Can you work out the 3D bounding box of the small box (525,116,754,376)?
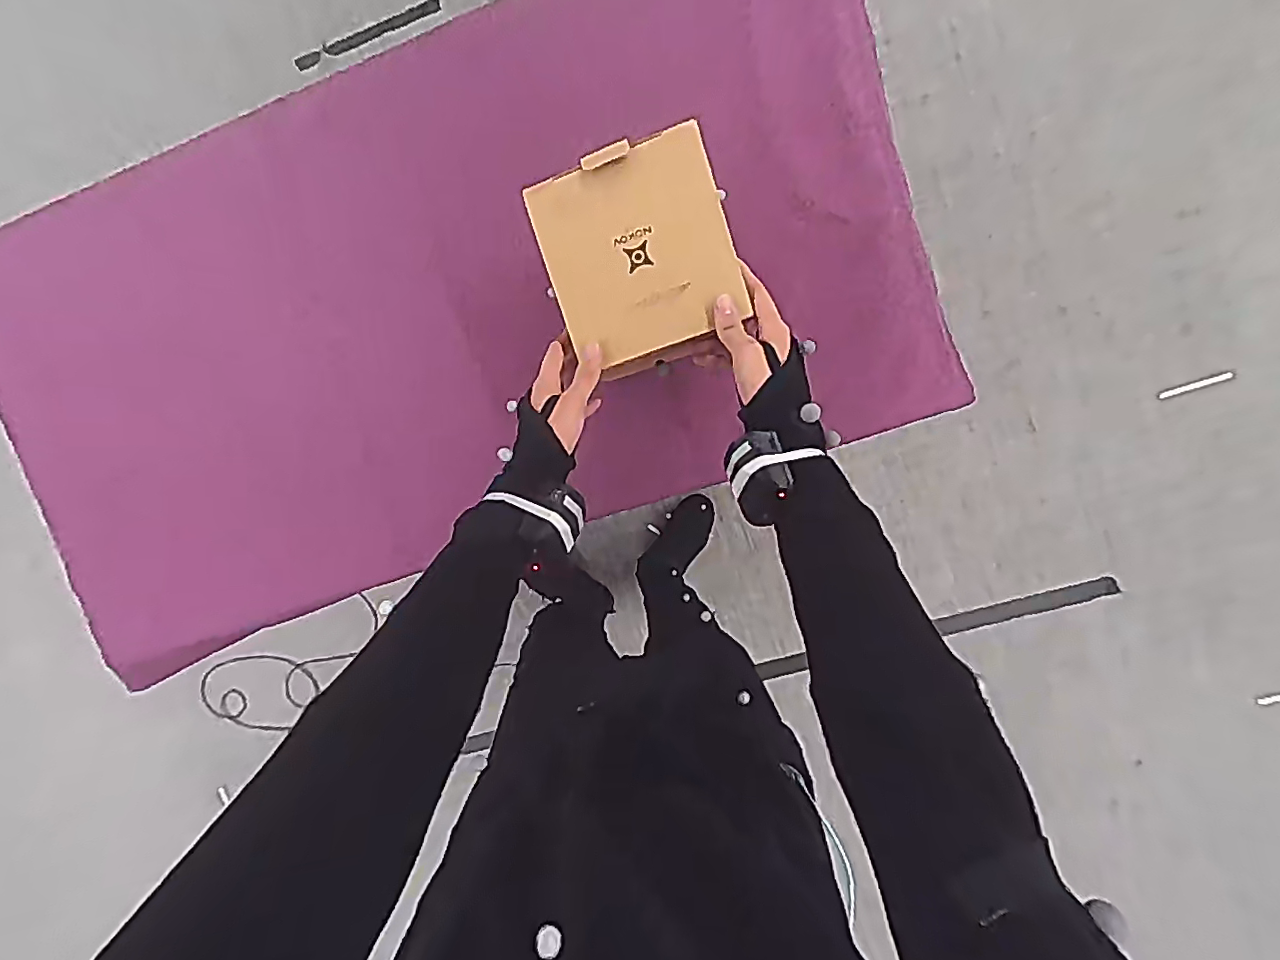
[{"bbox_3d":[0.007,-0.214,0.551,0.168,0.176,0.179,-16,97,9],"label":"small box"}]
